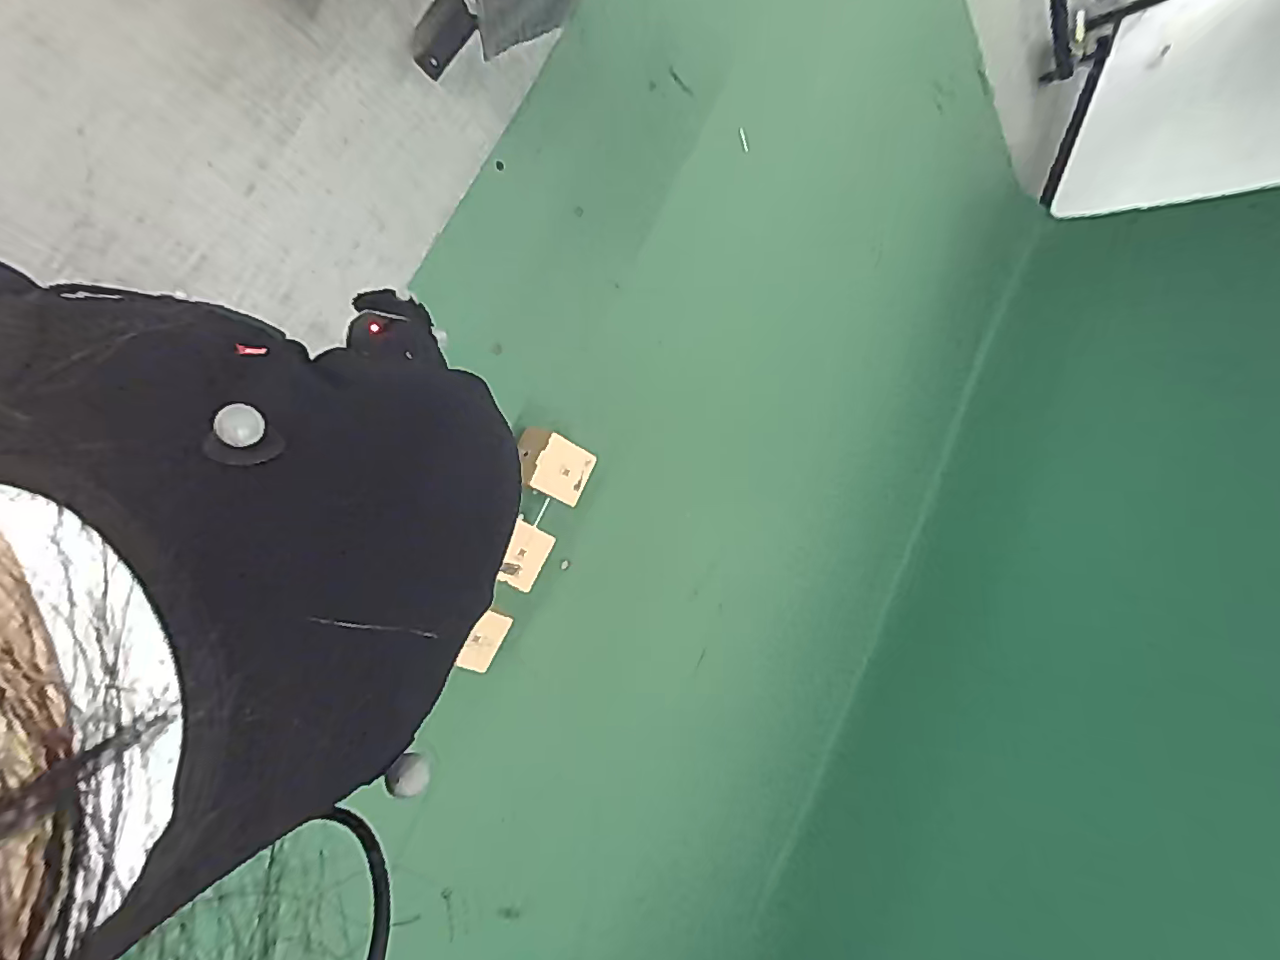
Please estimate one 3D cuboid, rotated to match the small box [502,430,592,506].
[{"bbox_3d":[-0.284,-0.041,1.617,0.179,0.176,0.168,32,79,-38],"label":"small box"}]
